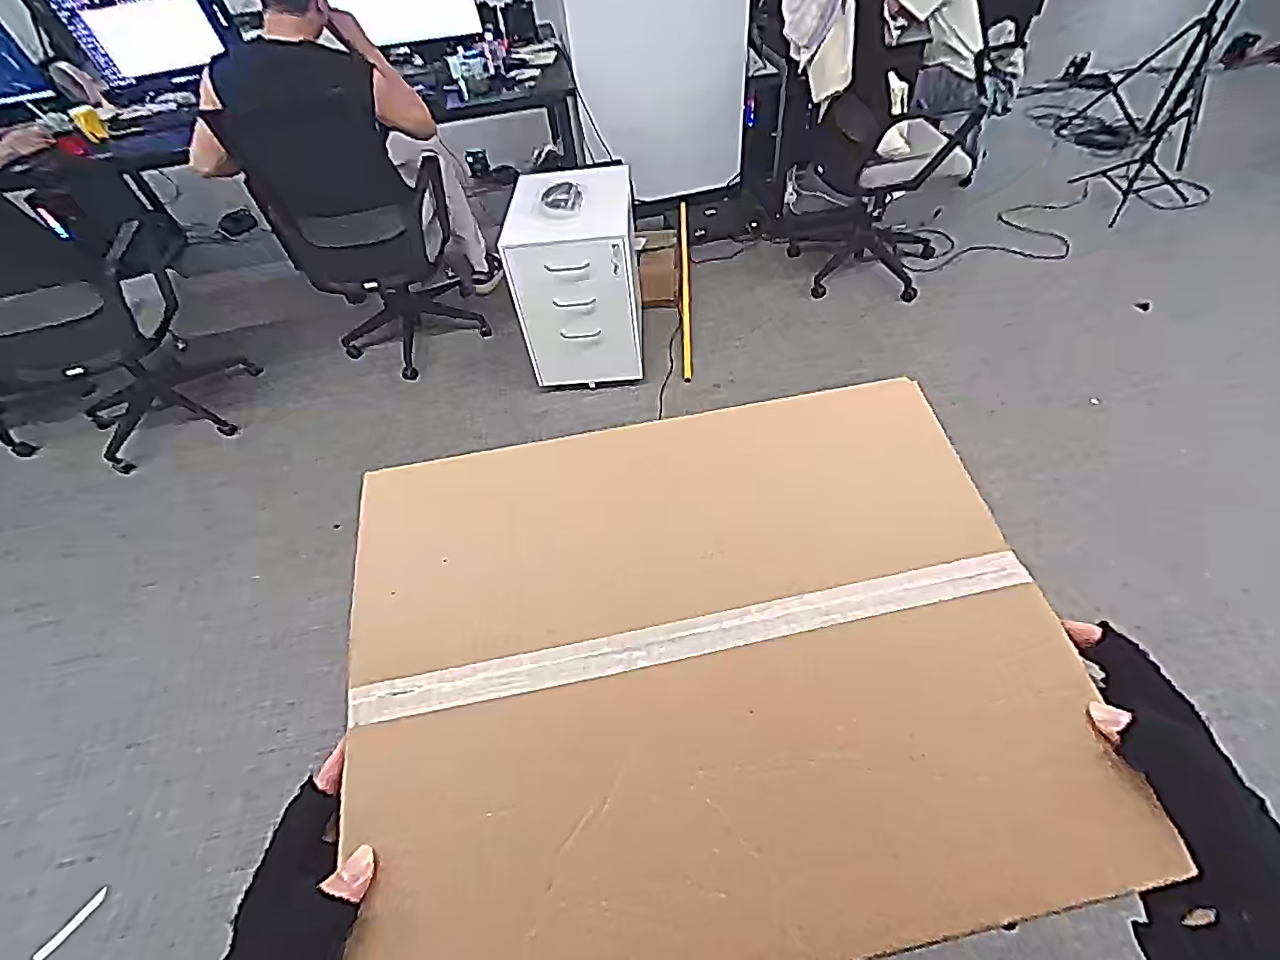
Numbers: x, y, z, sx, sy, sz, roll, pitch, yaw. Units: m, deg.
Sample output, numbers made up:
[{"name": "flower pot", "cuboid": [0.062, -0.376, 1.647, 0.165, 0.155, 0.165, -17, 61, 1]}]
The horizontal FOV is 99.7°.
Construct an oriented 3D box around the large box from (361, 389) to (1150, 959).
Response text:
[{"name": "large box", "cuboid": [0.042, 0.170, 0.457, 0.408, 0.320, 0.320, -11, 60, -4]}]
